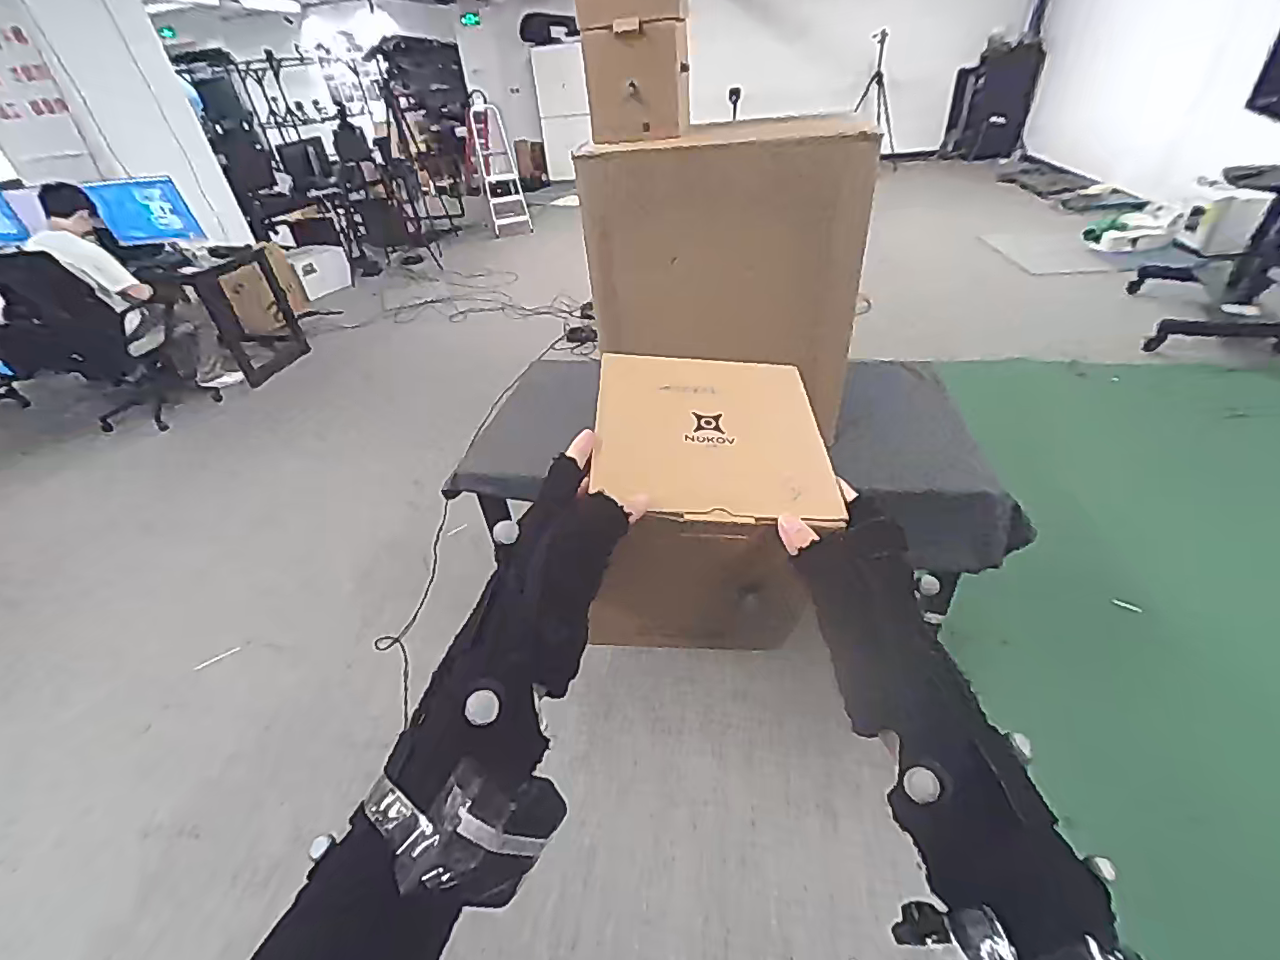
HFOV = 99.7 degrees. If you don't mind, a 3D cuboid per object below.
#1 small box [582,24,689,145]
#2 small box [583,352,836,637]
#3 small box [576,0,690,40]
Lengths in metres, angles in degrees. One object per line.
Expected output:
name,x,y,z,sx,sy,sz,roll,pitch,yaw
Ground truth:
small box,0.002,-0.737,1.012,0.168,0.176,0.179,3,40,10
small box,0.040,0.015,0.456,0.168,0.176,0.179,4,44,-4
small box,-0.009,-0.849,0.915,0.179,0.176,0.168,2,39,10
